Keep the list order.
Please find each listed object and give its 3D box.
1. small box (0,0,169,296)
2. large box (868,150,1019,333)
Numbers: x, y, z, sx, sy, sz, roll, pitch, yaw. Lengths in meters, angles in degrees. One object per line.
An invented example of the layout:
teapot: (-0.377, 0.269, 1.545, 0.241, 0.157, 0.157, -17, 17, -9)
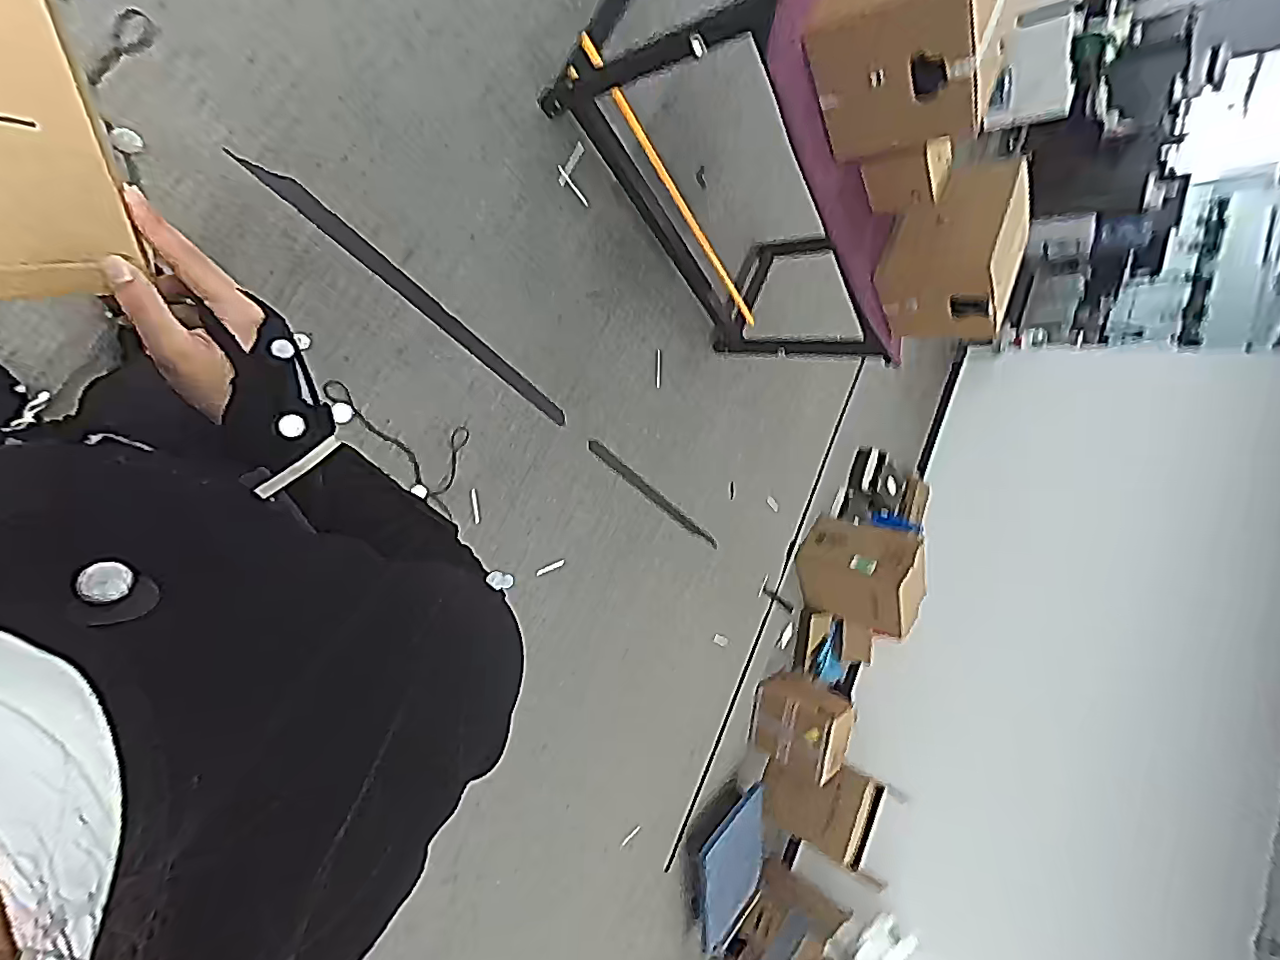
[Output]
small box: (-0.380, -0.191, 0.276, 0.179, 0.176, 0.168, -19, 127, -36)
large box: (0.947, -0.715, 1.684, 0.320, 0.320, 0.408, 38, 70, -48)
